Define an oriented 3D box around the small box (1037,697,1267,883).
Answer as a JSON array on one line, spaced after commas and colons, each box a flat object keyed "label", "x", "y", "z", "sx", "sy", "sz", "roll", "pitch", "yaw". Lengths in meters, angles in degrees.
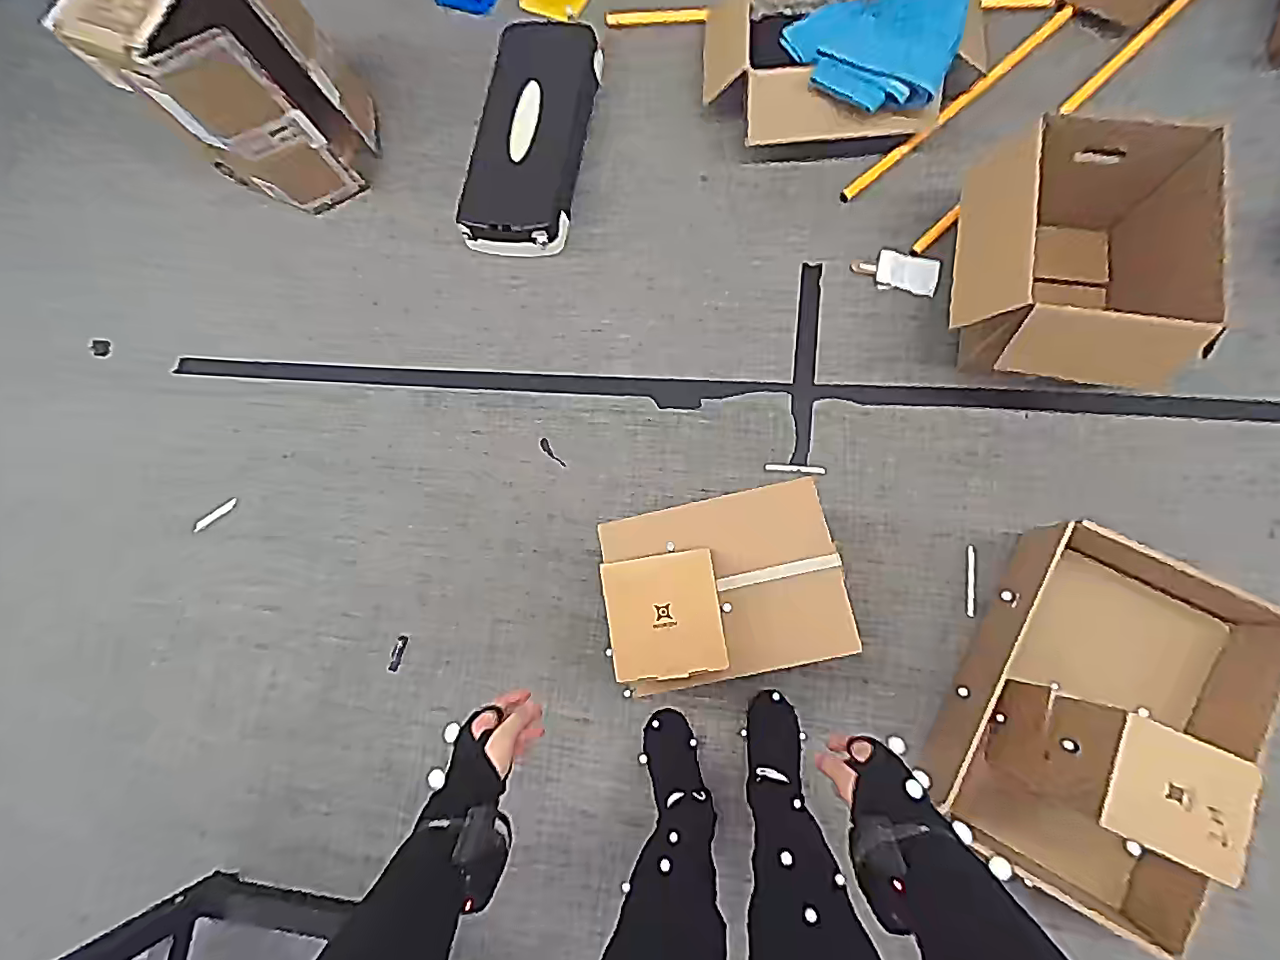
[{"label": "small box", "x": 0.752, "y": 0.445, "z": 0.816, "sx": 0.179, "sy": 0.176, "sz": 0.168, "roll": 23, "pitch": 80, "yaw": 11}]
